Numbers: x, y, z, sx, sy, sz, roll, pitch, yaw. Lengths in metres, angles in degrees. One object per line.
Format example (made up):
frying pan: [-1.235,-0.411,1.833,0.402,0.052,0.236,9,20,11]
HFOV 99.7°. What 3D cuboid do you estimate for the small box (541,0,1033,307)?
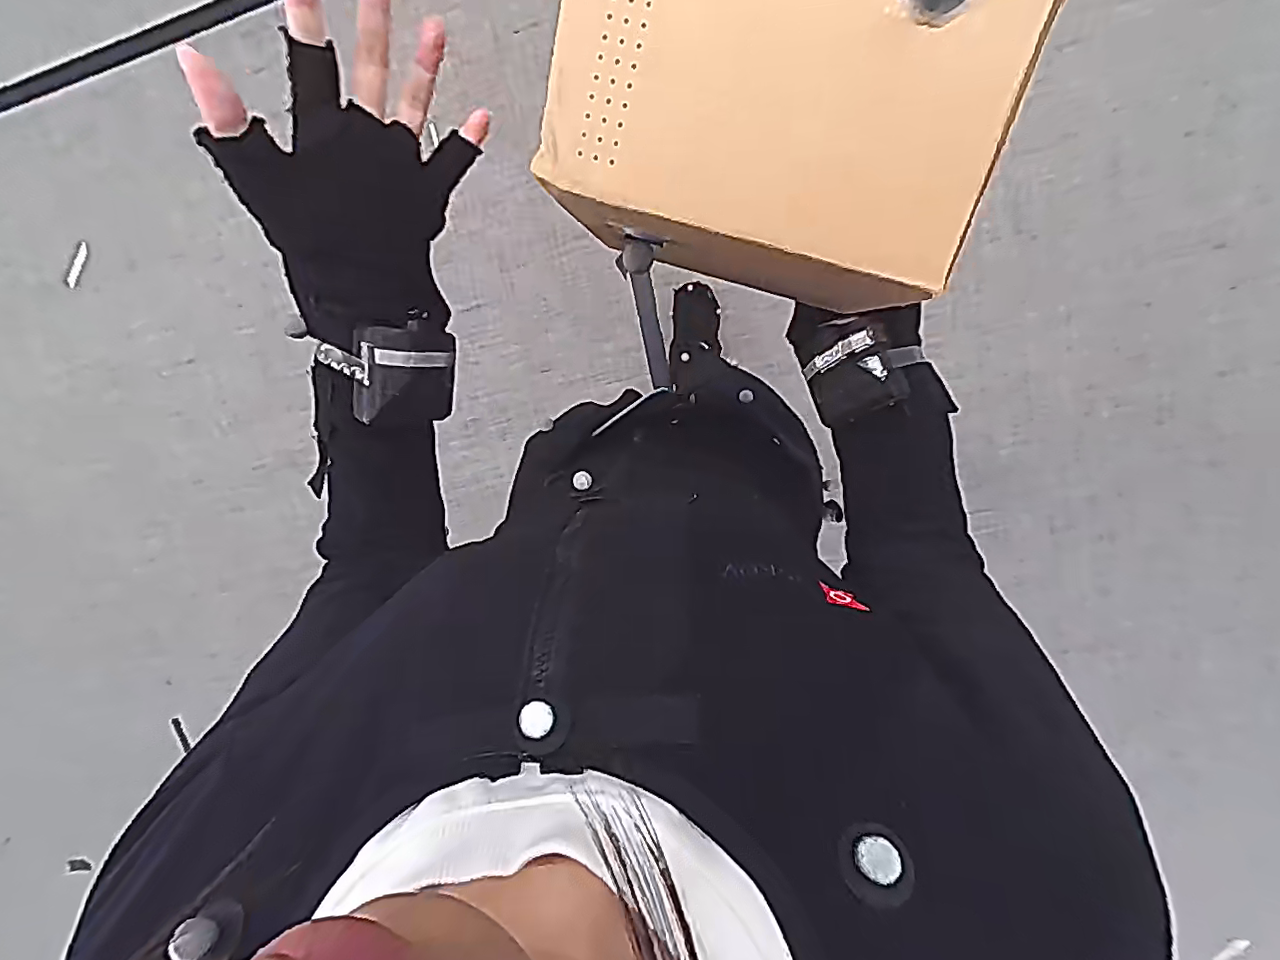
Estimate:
small box: [0.063,-0.200,0.269,0.176,0.168,0.179,18,106,5]
